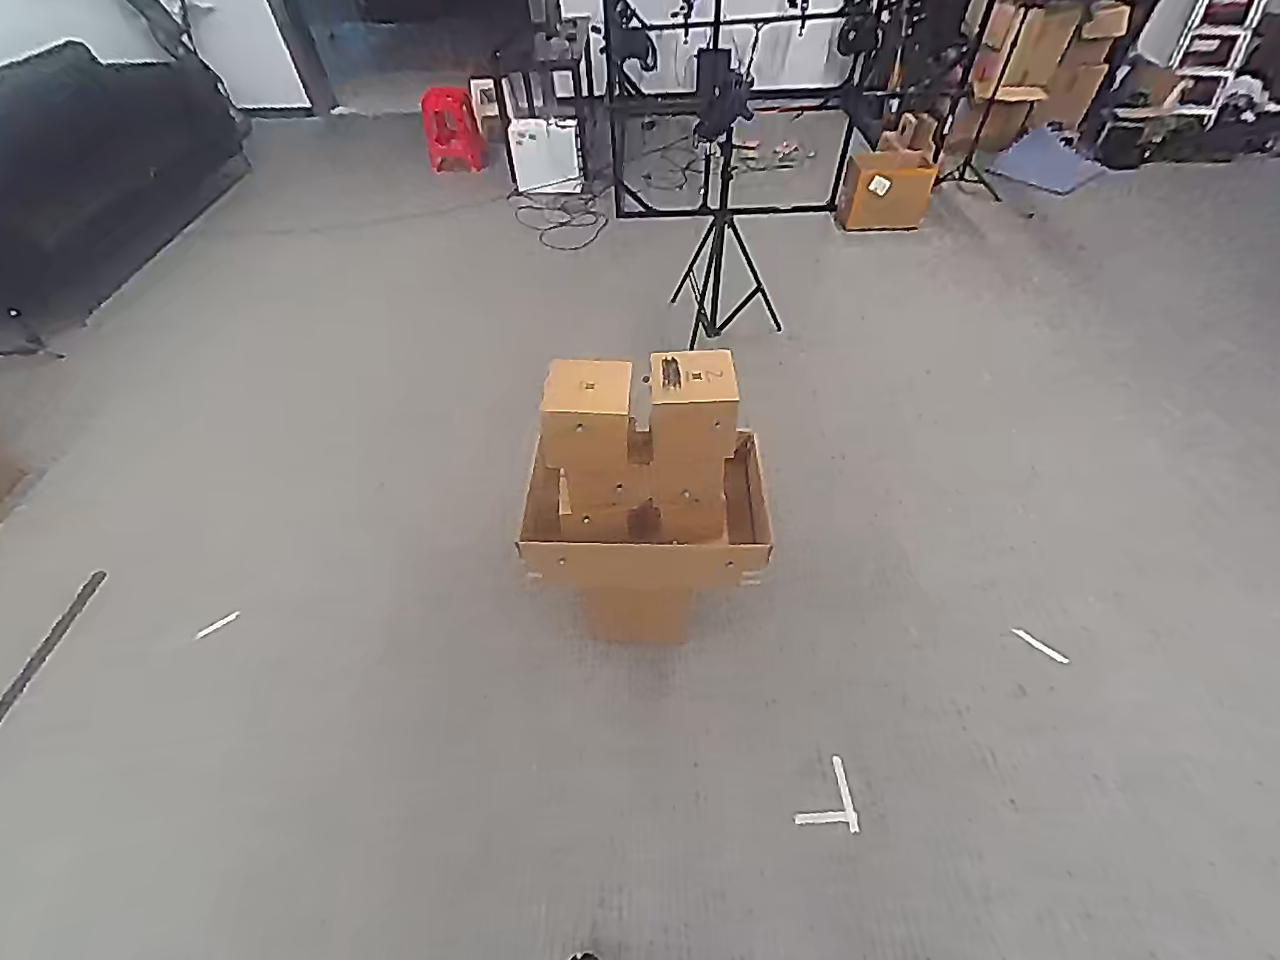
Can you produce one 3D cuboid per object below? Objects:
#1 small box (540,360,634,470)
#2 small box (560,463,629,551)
[{"bbox_3d":[-0.105,-0.136,1.160,0.179,0.176,0.168,2,50,2],"label":"small box"},{"bbox_3d":[-0.116,0.064,1.416,0.168,0.176,0.179,-4,49,-2],"label":"small box"}]
